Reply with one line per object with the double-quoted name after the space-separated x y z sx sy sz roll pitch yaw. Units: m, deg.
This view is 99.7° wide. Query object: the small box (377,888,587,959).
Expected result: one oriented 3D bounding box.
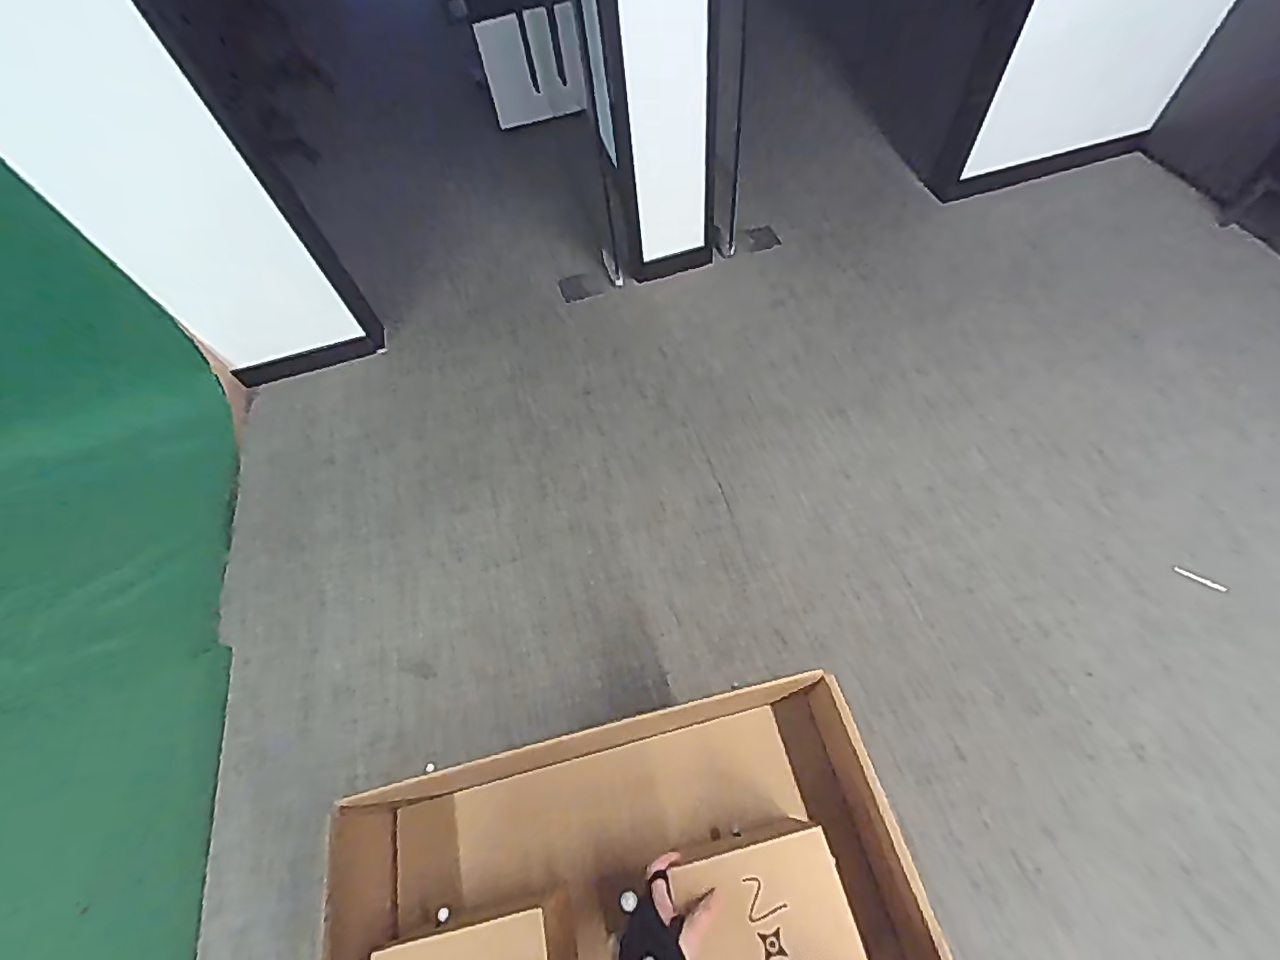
-0.153 0.553 0.563 0.179 0.176 0.168 -13 59 -2 "small box"
